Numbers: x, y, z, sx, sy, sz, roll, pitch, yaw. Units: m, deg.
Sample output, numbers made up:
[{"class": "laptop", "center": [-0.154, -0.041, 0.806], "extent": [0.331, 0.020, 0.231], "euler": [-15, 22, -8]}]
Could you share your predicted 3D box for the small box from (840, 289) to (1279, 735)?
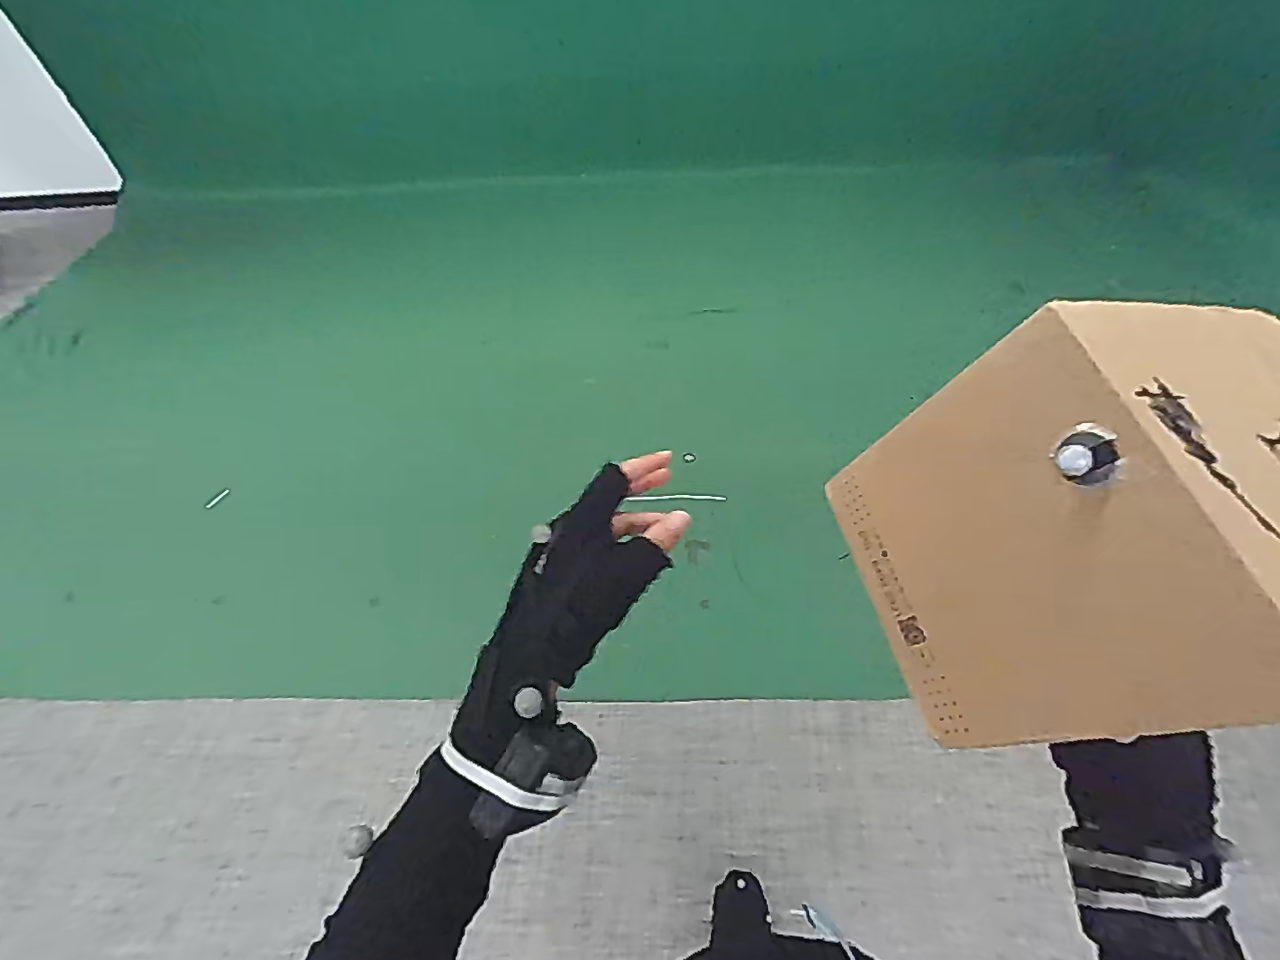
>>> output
[{"class": "small box", "center": [0.247, 0.027, 0.288], "extent": [0.179, 0.176, 0.168], "euler": [-3, 63, -22]}]
